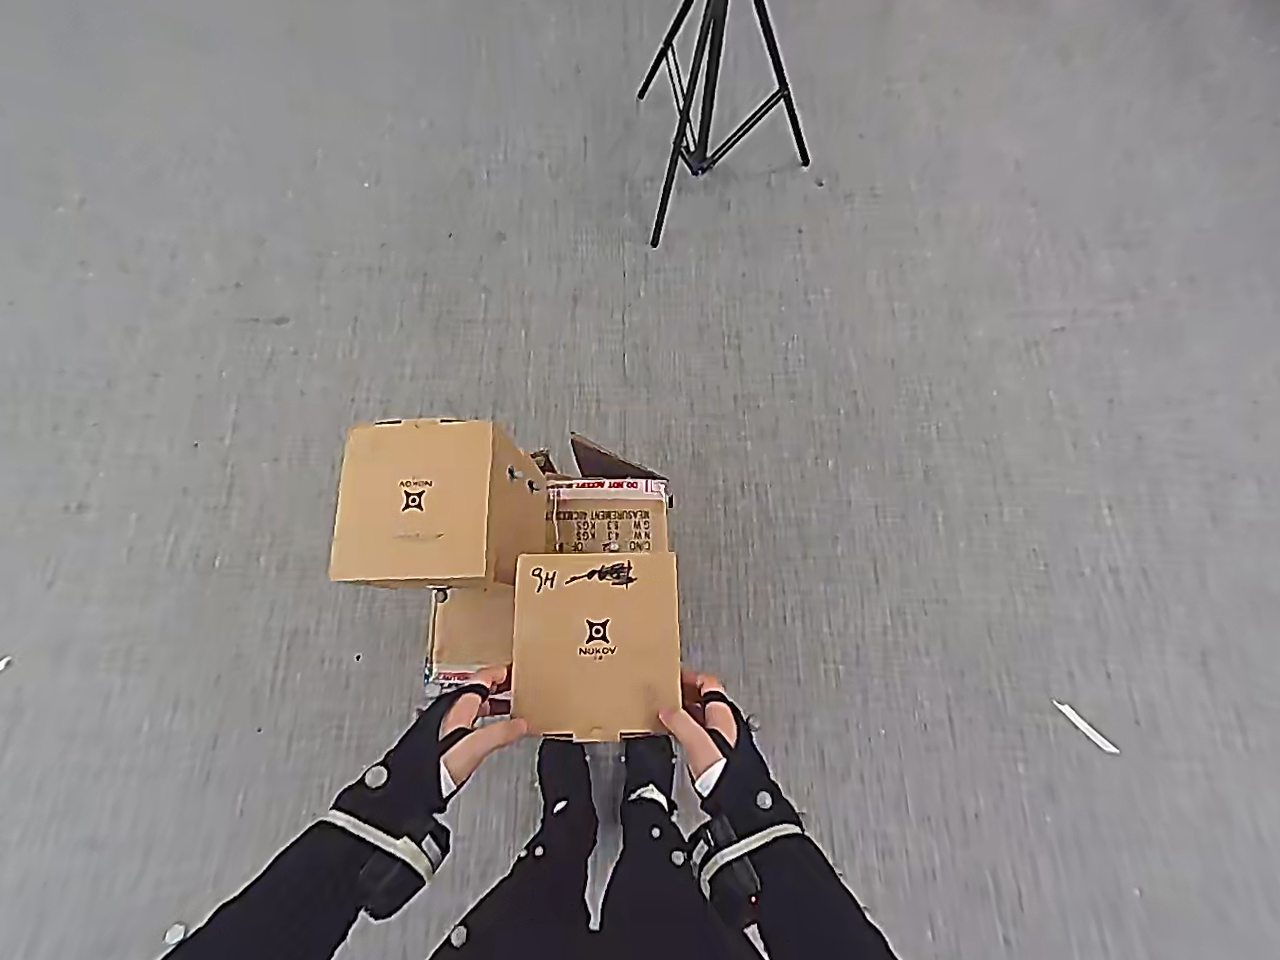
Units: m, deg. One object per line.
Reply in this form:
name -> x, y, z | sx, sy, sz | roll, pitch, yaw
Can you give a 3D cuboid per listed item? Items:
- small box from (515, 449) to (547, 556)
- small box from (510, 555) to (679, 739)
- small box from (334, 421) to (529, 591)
small box -> -0.239, 0.062, 0.819 | 0.168, 0.176, 0.179 | -2, 75, 1
small box -> -0.044, 0.182, 0.612 | 0.168, 0.176, 0.179 | -1, 74, -1
small box -> -0.235, 0.040, 0.656 | 0.168, 0.176, 0.179 | -2, 76, 2
